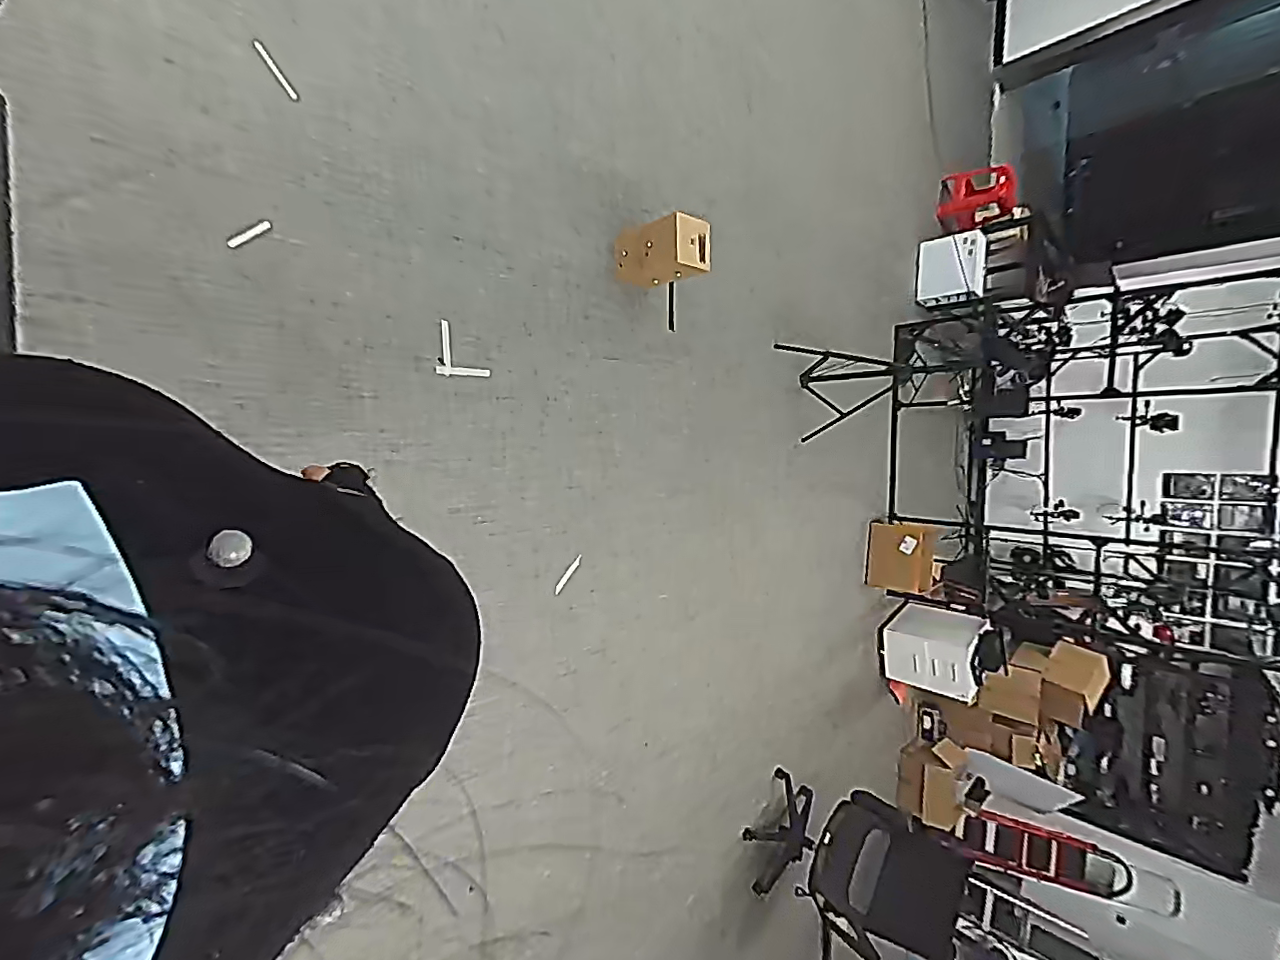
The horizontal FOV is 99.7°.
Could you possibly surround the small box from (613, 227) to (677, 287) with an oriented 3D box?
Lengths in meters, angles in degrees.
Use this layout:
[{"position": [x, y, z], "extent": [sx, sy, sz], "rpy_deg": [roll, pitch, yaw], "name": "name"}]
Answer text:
[{"position": [0.020, -0.832, 2.038], "extent": [0.179, 0.176, 0.168], "rpy_deg": [-11, 100, -44], "name": "small box"}]
